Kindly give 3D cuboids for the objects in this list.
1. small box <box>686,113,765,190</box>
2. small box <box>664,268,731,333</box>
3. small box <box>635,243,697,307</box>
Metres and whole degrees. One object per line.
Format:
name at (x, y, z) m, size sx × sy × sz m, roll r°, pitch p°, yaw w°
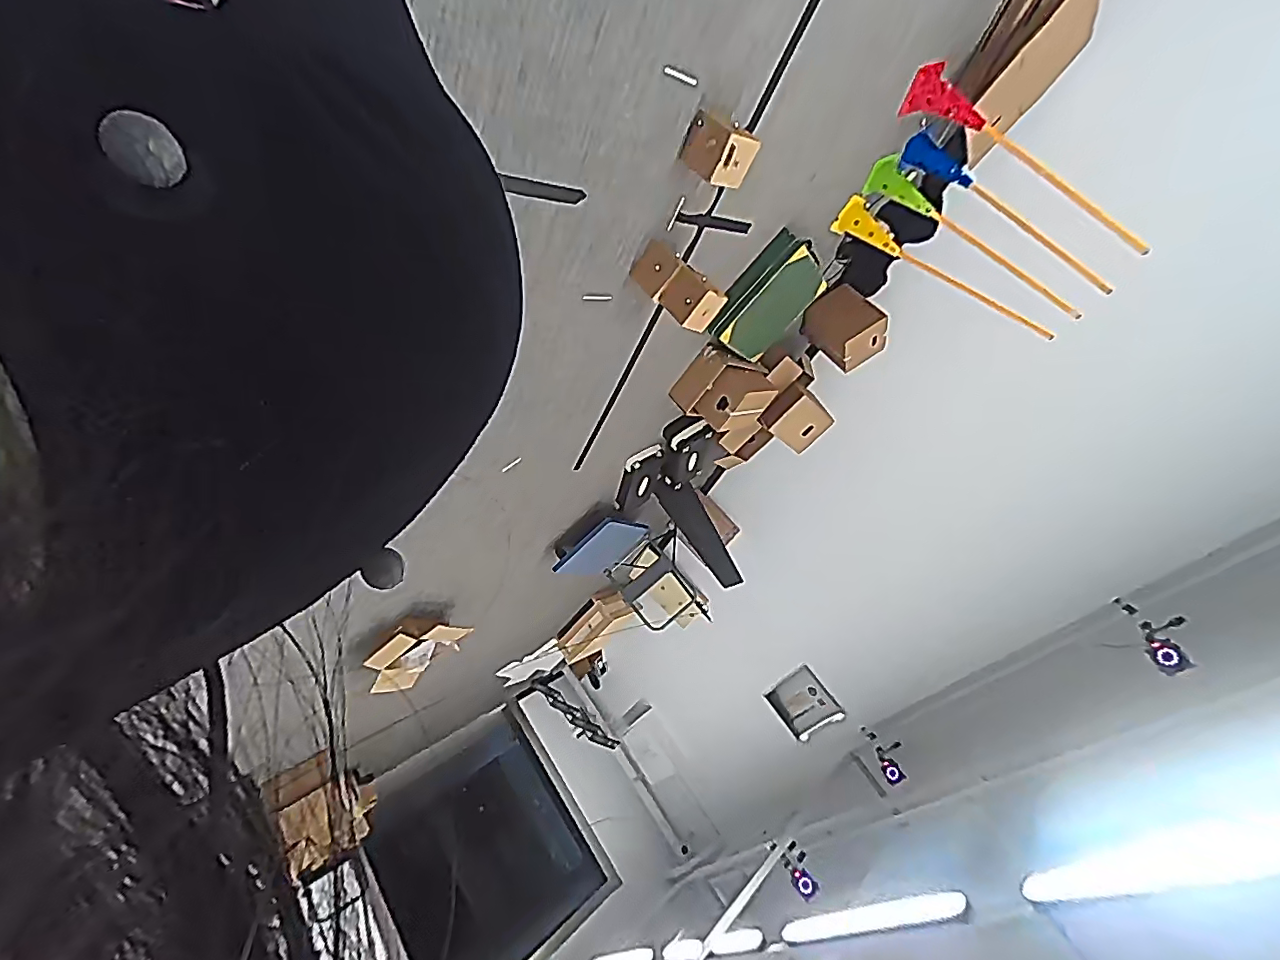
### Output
small box at (0.290, -1.144, 1.881) m, size 0.179 × 0.176 × 0.168 m, roll -20°, pitch 152°, yaw -42°
small box at (0.228, -0.725, 2.185) m, size 0.168 × 0.176 × 0.179 m, roll -6°, pitch 143°, yaw -54°
small box at (0.112, -0.838, 2.226) m, size 0.179 × 0.176 × 0.168 m, roll -47°, pitch 158°, yaw 26°
